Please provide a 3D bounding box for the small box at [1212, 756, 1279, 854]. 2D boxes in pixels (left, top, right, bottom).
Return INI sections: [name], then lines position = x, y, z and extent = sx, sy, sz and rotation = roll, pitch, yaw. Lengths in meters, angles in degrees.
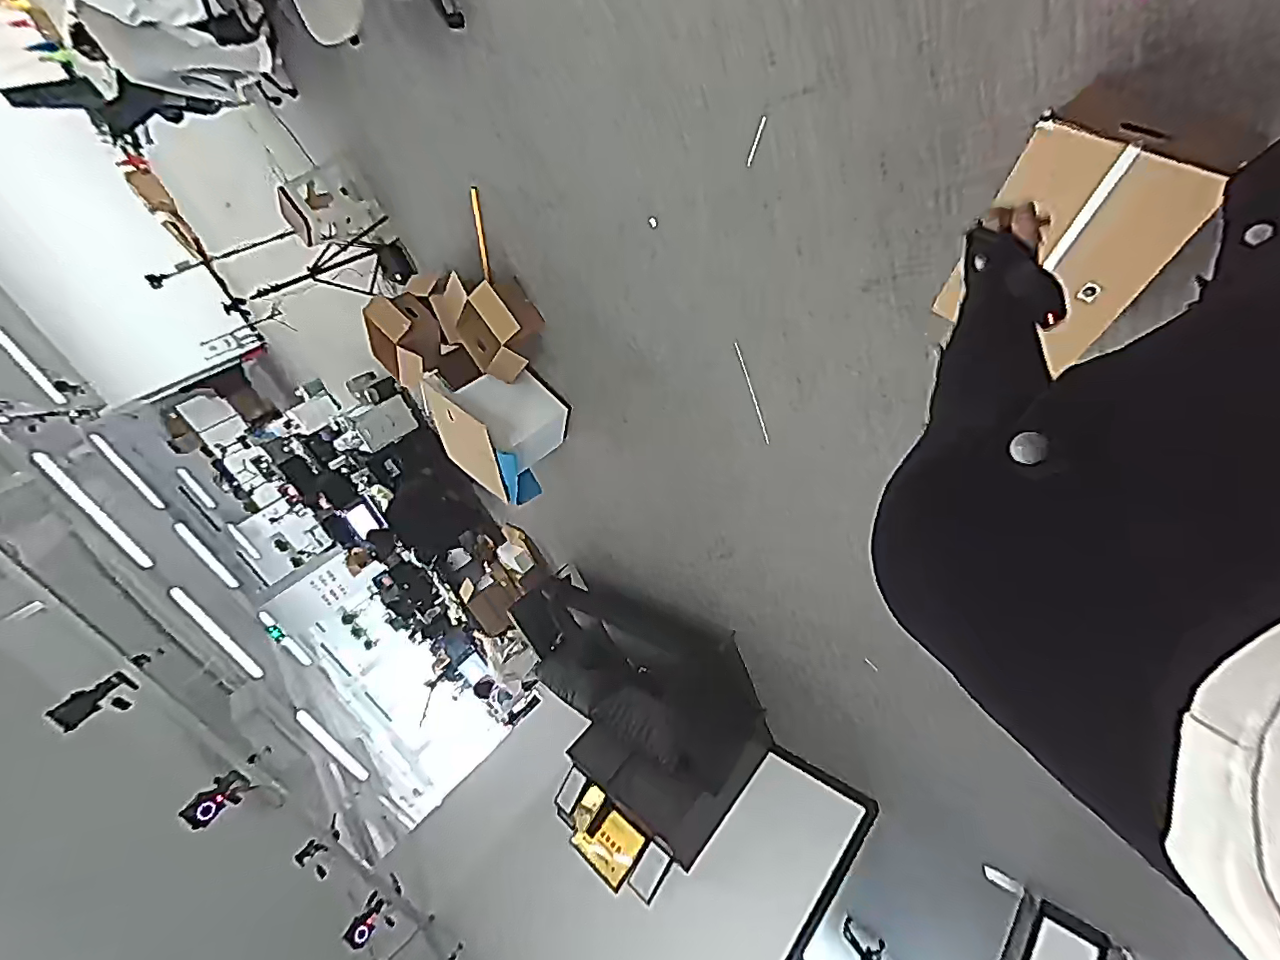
[small box]
position = 1.825, 0.954, 1.591
extent = 0.179, 0.176, 0.168
rotation = 5, 128, 51
